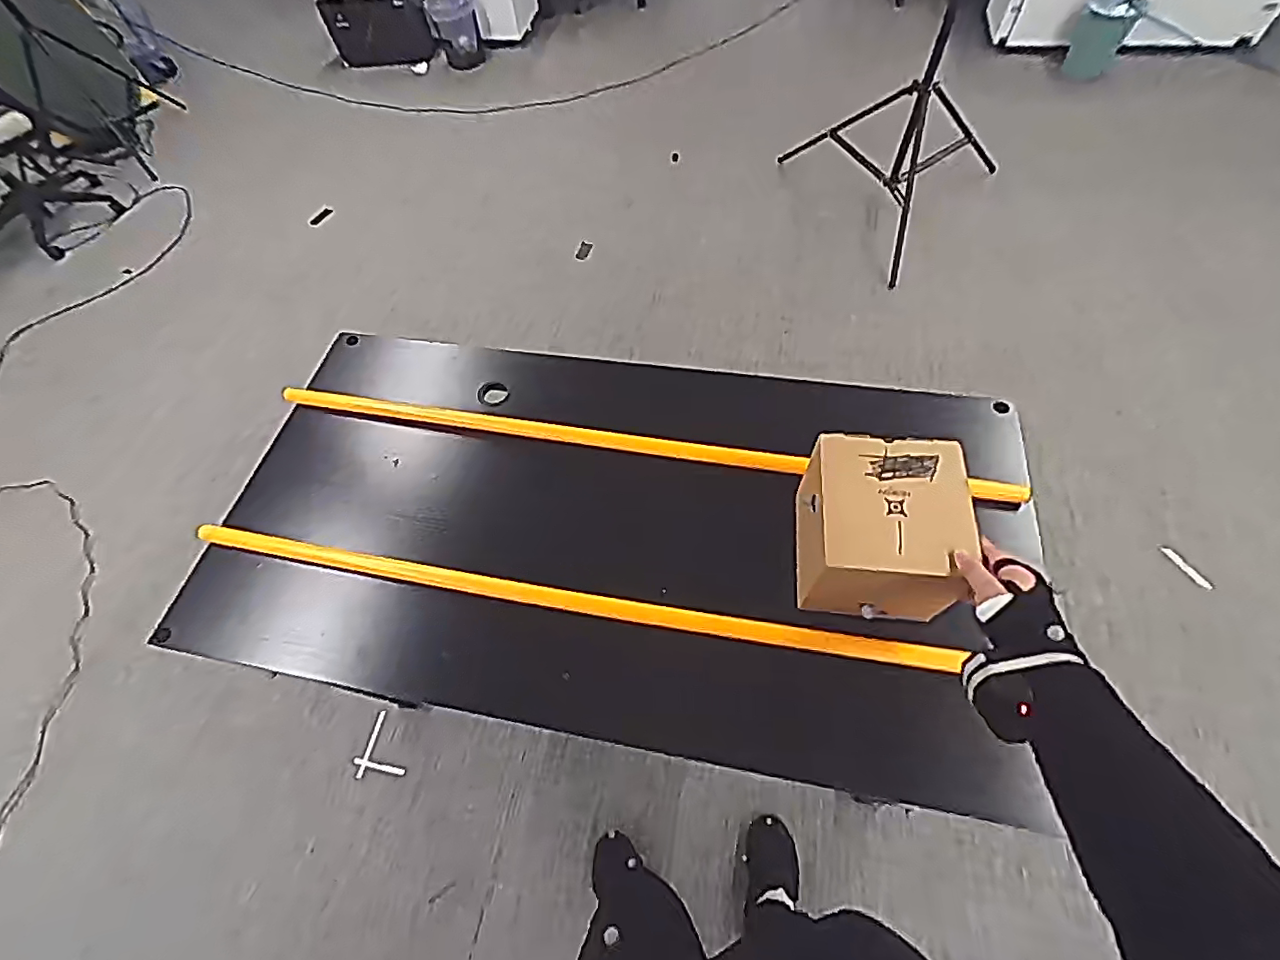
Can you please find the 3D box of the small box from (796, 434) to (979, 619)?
[{"bbox_3d":[0.297,0.063,0.693,0.168,0.176,0.179,4,61,7],"label":"small box"}]
